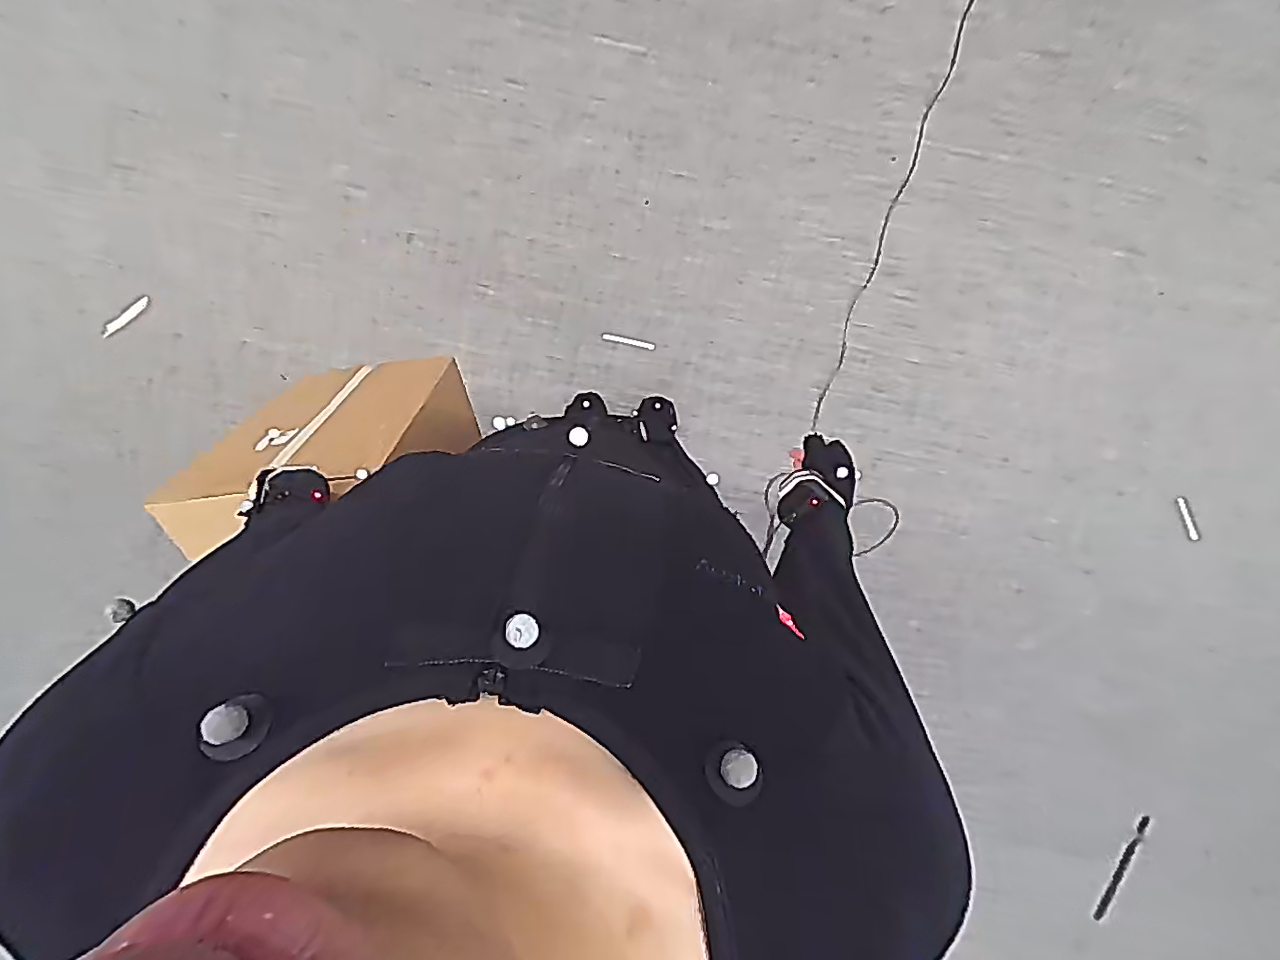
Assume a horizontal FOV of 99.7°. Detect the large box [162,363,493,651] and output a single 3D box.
[{"bbox_3d":[-0.478,0.031,0.956,0.320,0.408,0.320,-8,126,3],"label":"large box"}]
